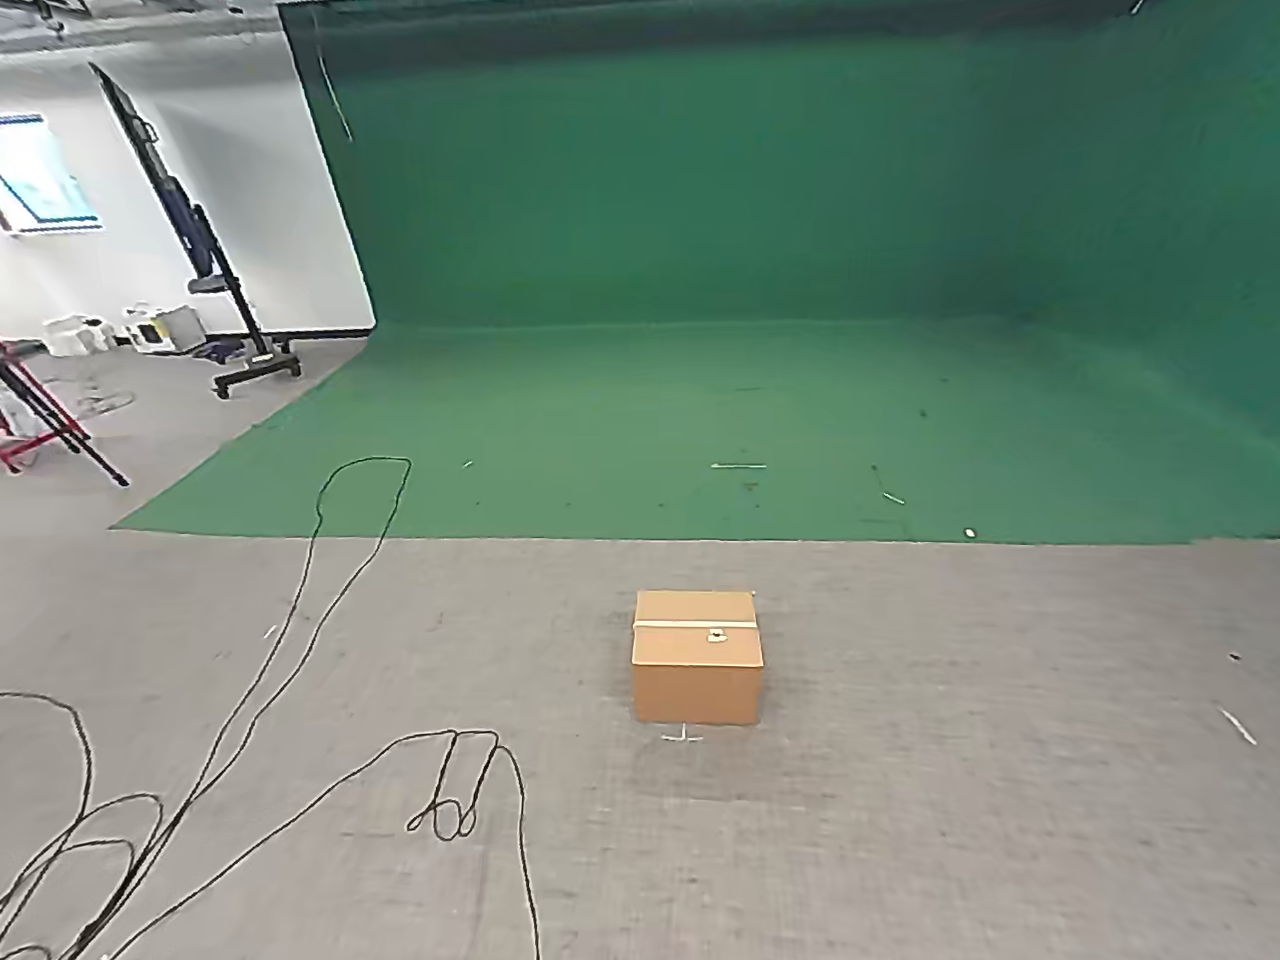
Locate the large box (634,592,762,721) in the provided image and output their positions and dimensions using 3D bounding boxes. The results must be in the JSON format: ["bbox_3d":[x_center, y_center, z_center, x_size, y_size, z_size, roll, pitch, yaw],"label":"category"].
[{"bbox_3d":[0.188,0.607,1.868,0.408,0.320,0.320,-1,34,4],"label":"large box"}]
